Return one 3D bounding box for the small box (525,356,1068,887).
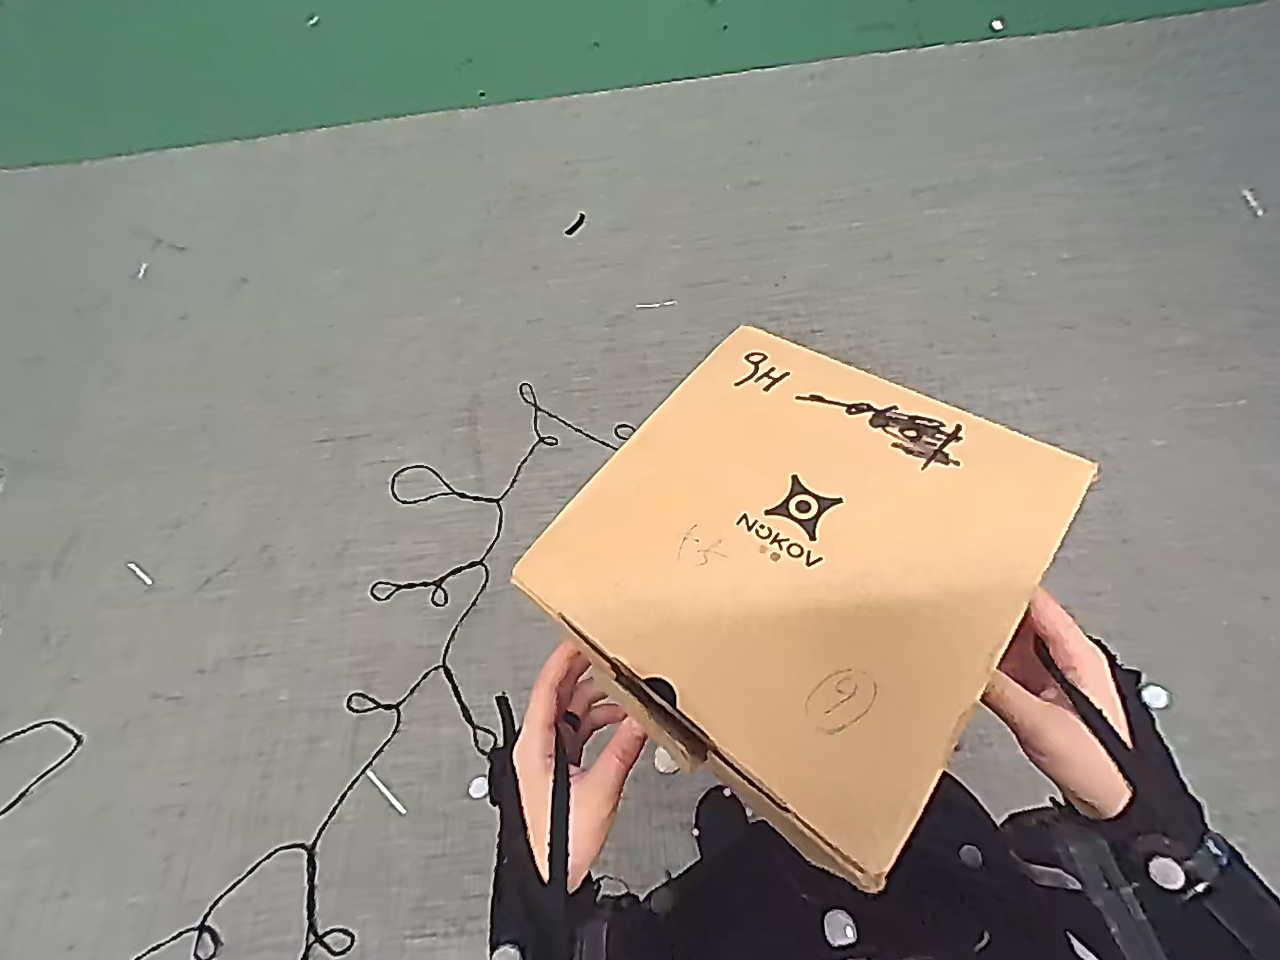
[{"bbox_3d":[0.076,0.073,0.295,0.168,0.176,0.179,31,68,27],"label":"small box"}]
